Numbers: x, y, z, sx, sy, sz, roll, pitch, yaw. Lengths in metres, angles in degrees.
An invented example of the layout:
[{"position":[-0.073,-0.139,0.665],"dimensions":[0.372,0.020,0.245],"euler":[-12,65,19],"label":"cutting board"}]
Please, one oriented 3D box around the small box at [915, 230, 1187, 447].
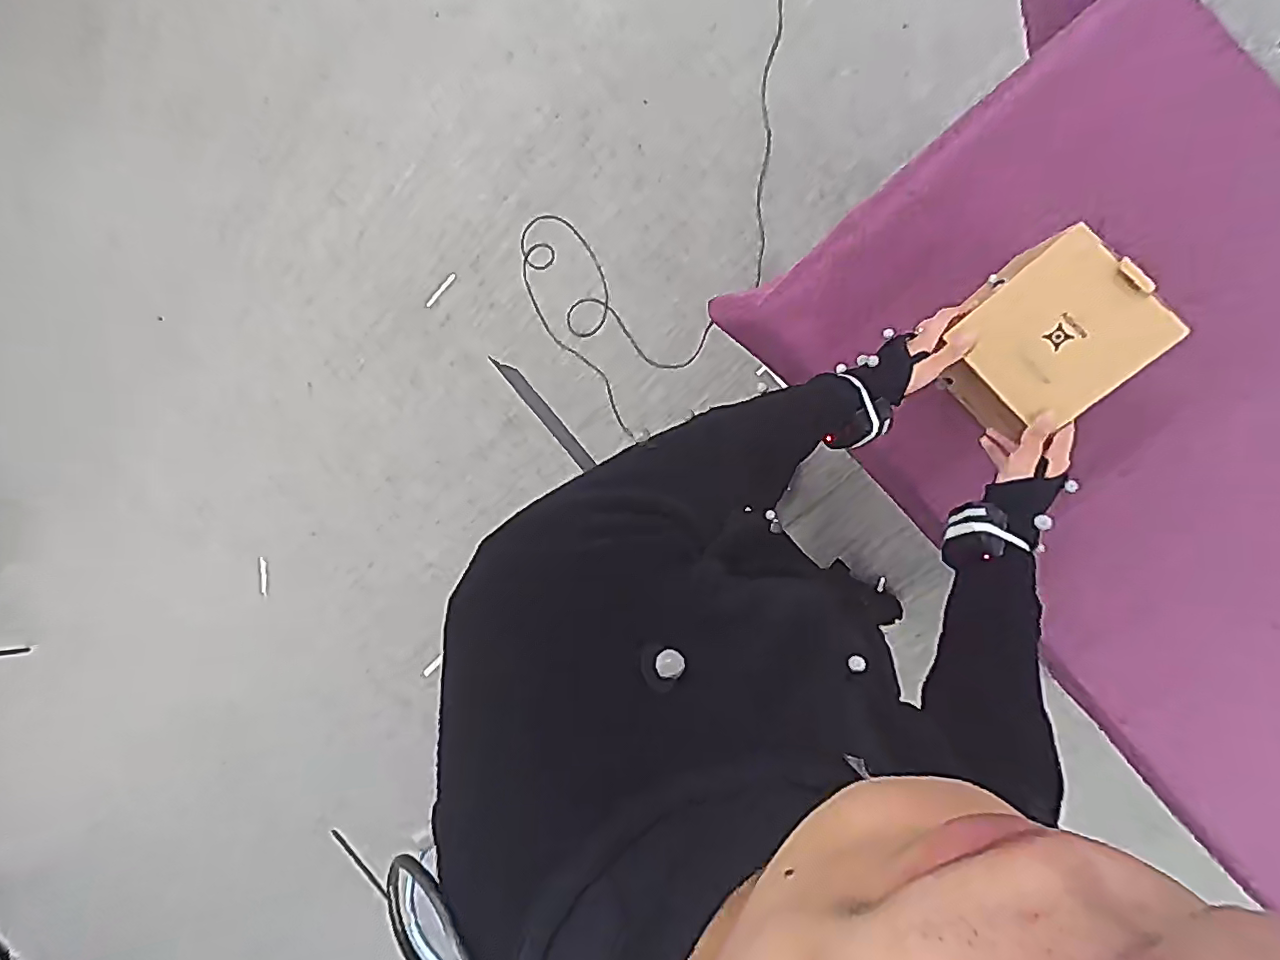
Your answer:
[{"position":[0.479,-0.164,0.668],"dimensions":[0.179,0.176,0.168],"euler":[-42,86,16],"label":"small box"}]
